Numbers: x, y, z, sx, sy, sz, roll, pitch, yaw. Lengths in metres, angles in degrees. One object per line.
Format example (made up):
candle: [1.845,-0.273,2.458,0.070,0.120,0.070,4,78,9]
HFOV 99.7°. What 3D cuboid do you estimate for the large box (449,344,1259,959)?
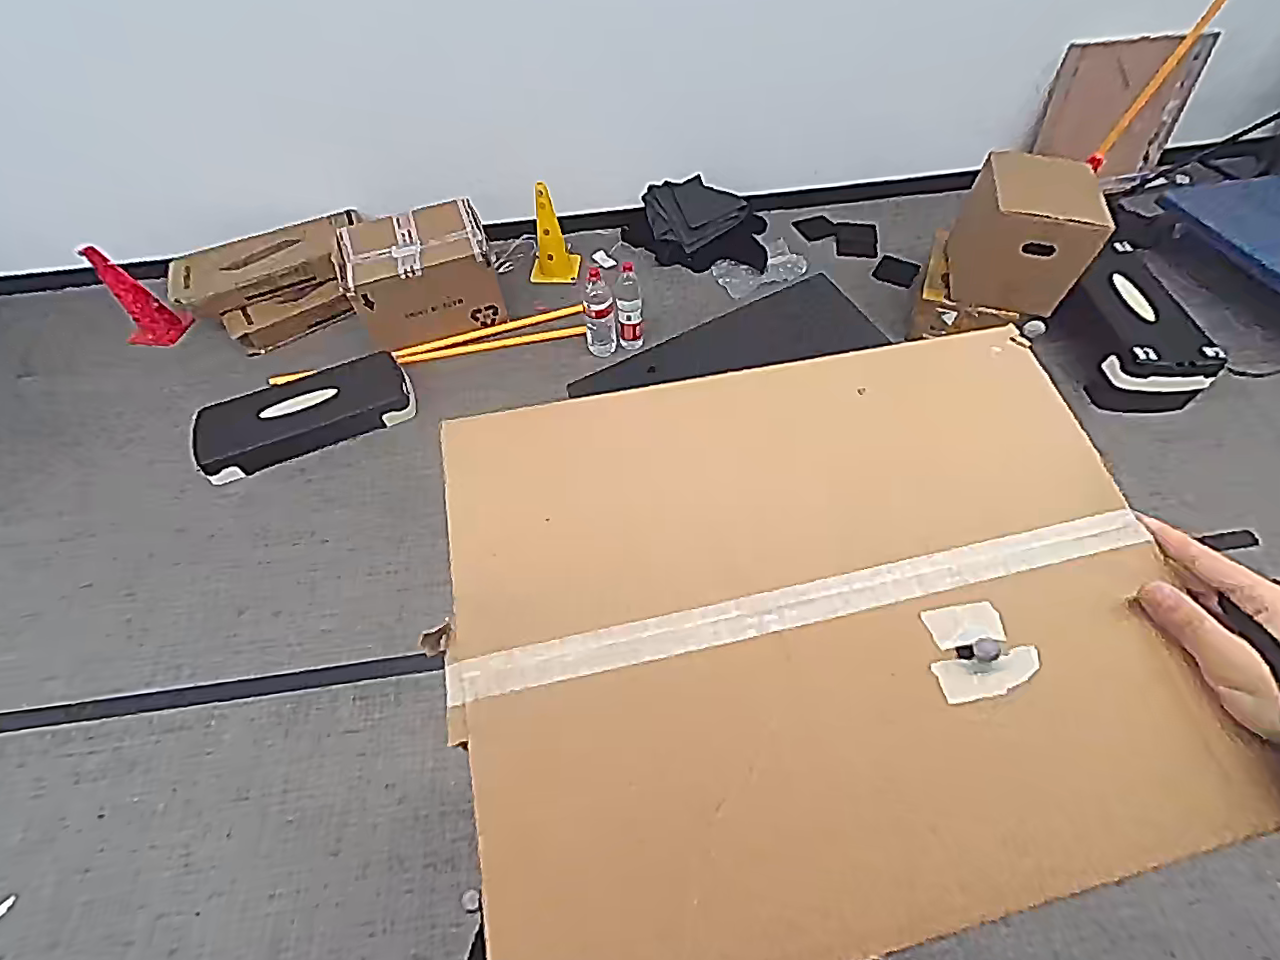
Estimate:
large box: [0.095,0.133,0.451,0.408,0.320,0.320,-11,68,-8]
